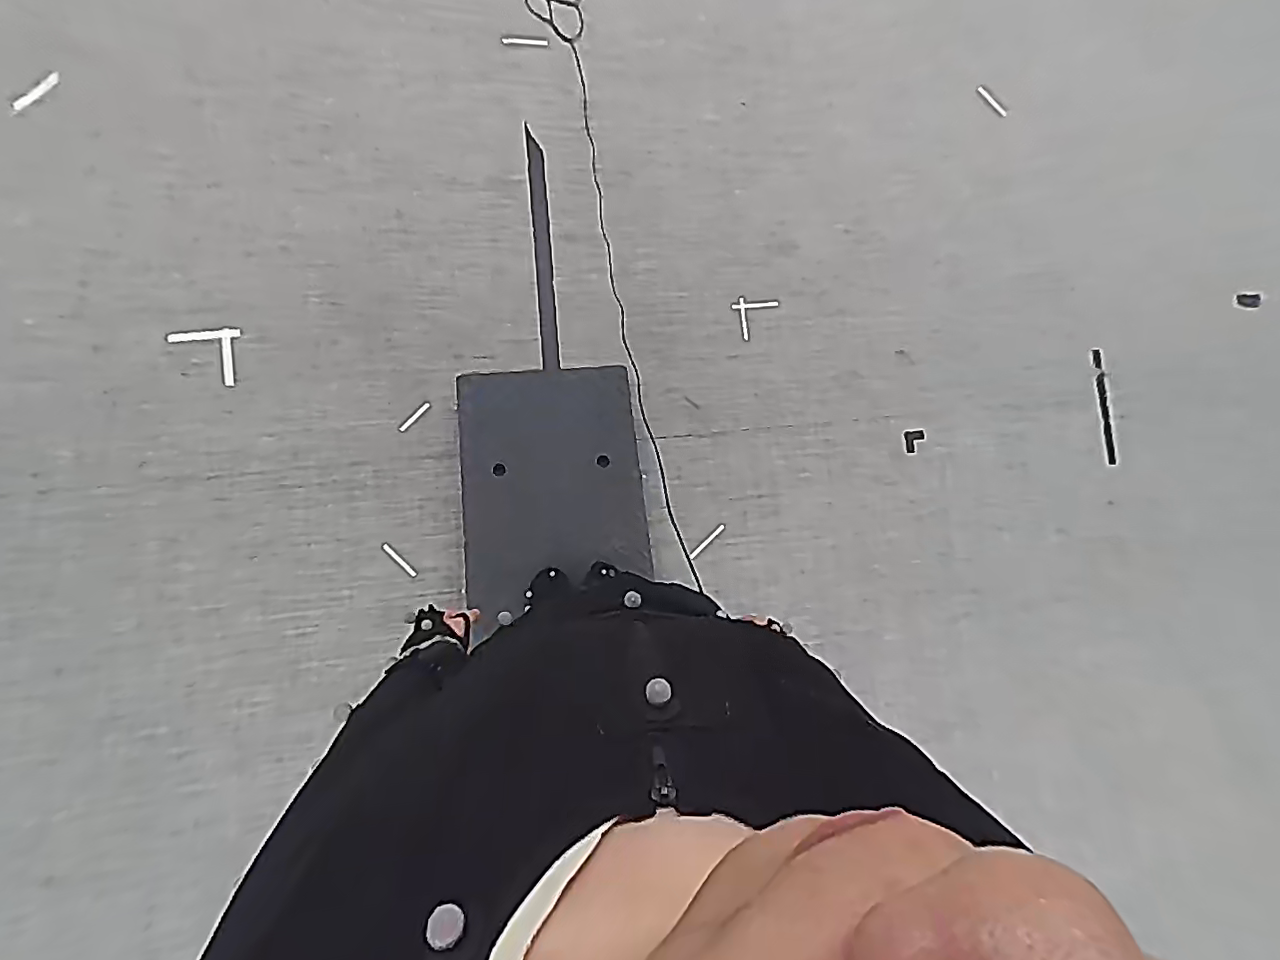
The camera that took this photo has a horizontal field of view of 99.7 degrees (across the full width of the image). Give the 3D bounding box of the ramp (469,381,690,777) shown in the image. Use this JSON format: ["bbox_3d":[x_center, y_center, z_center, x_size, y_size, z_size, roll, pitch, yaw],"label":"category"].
[{"bbox_3d":[-0.186,0.201,1.442,0.509,0.206,0.991,-8,83,-7],"label":"ramp"}]
